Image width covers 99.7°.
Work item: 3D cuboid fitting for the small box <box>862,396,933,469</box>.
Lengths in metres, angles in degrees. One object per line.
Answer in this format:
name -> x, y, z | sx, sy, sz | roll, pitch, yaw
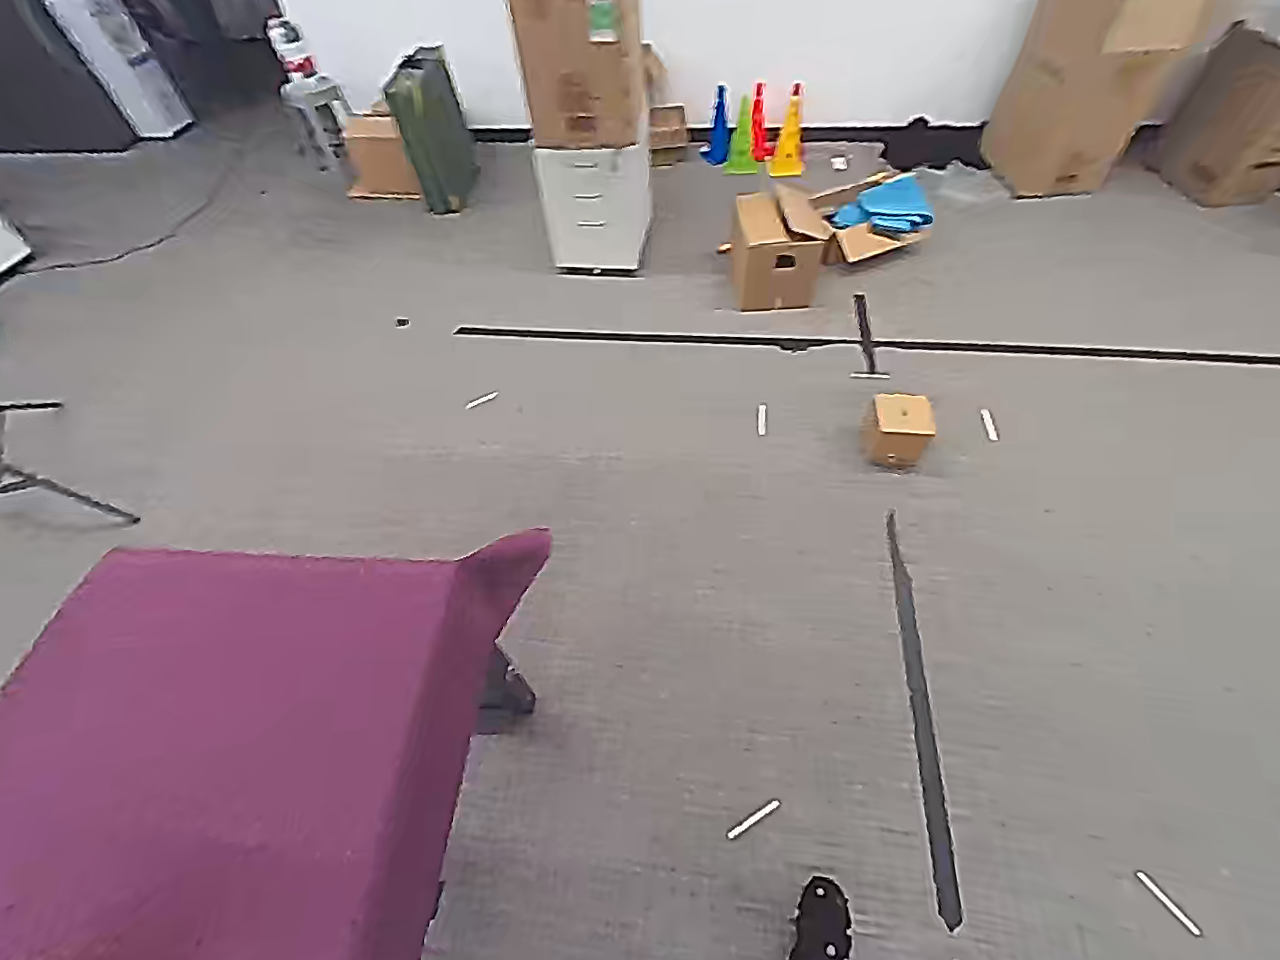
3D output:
small box -> 0.864, -0.161, 1.835 | 0.168, 0.176, 0.179 | 4, 54, 8
